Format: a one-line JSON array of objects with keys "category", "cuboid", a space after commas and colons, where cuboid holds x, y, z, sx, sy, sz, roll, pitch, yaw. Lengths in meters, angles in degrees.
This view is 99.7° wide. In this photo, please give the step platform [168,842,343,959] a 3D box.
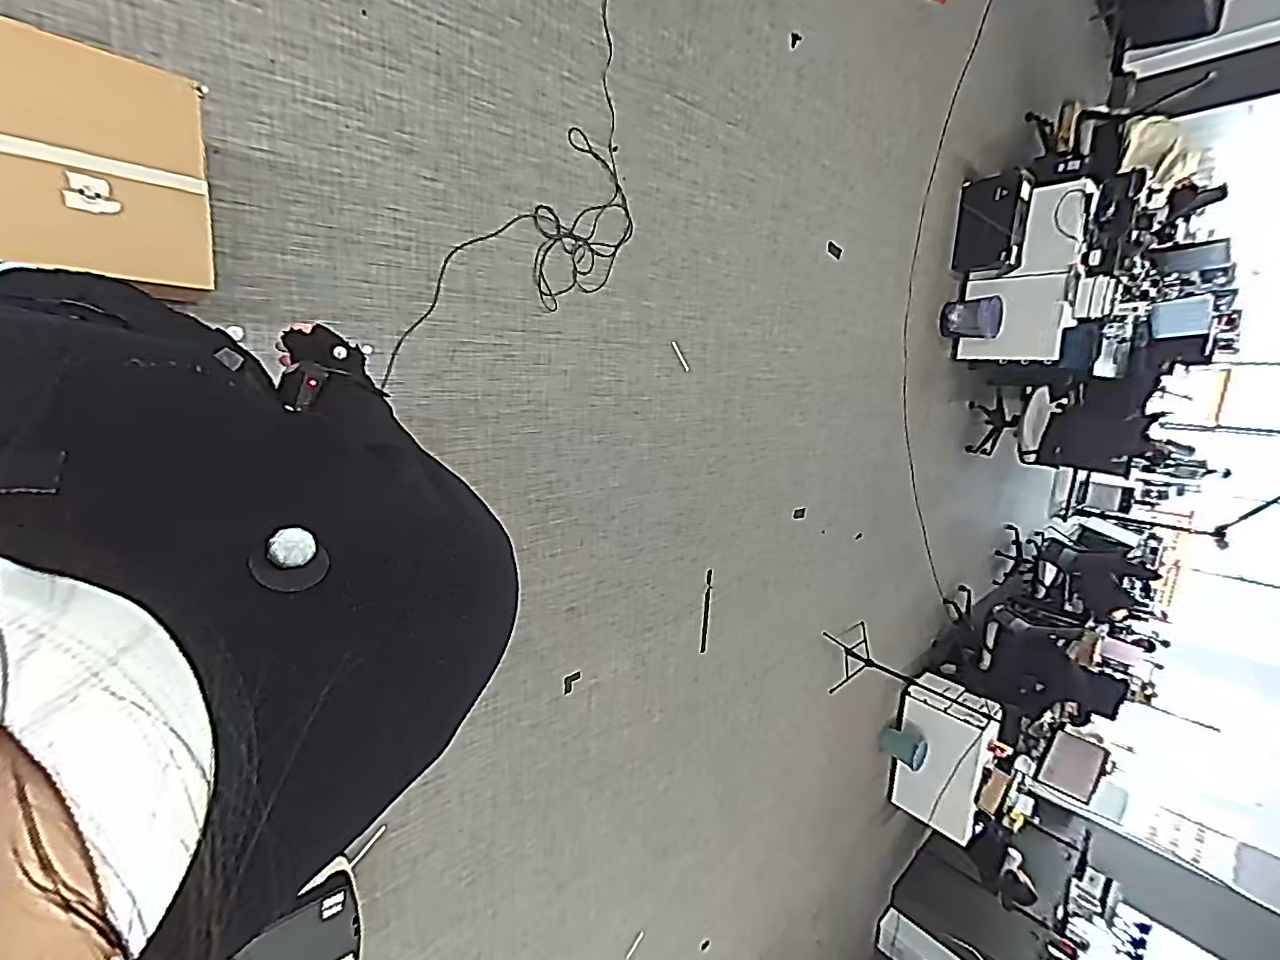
[{"category": "step platform", "cuboid": [-1.058, 1.159, 1.217, 0.684, 0.204, 0.286, -10, 106, -39]}]

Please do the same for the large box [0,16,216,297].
[{"category": "large box", "cuboid": [-0.944, -0.484, 0.847, 0.408, 0.320, 0.320, -5, 104, -42]}]
